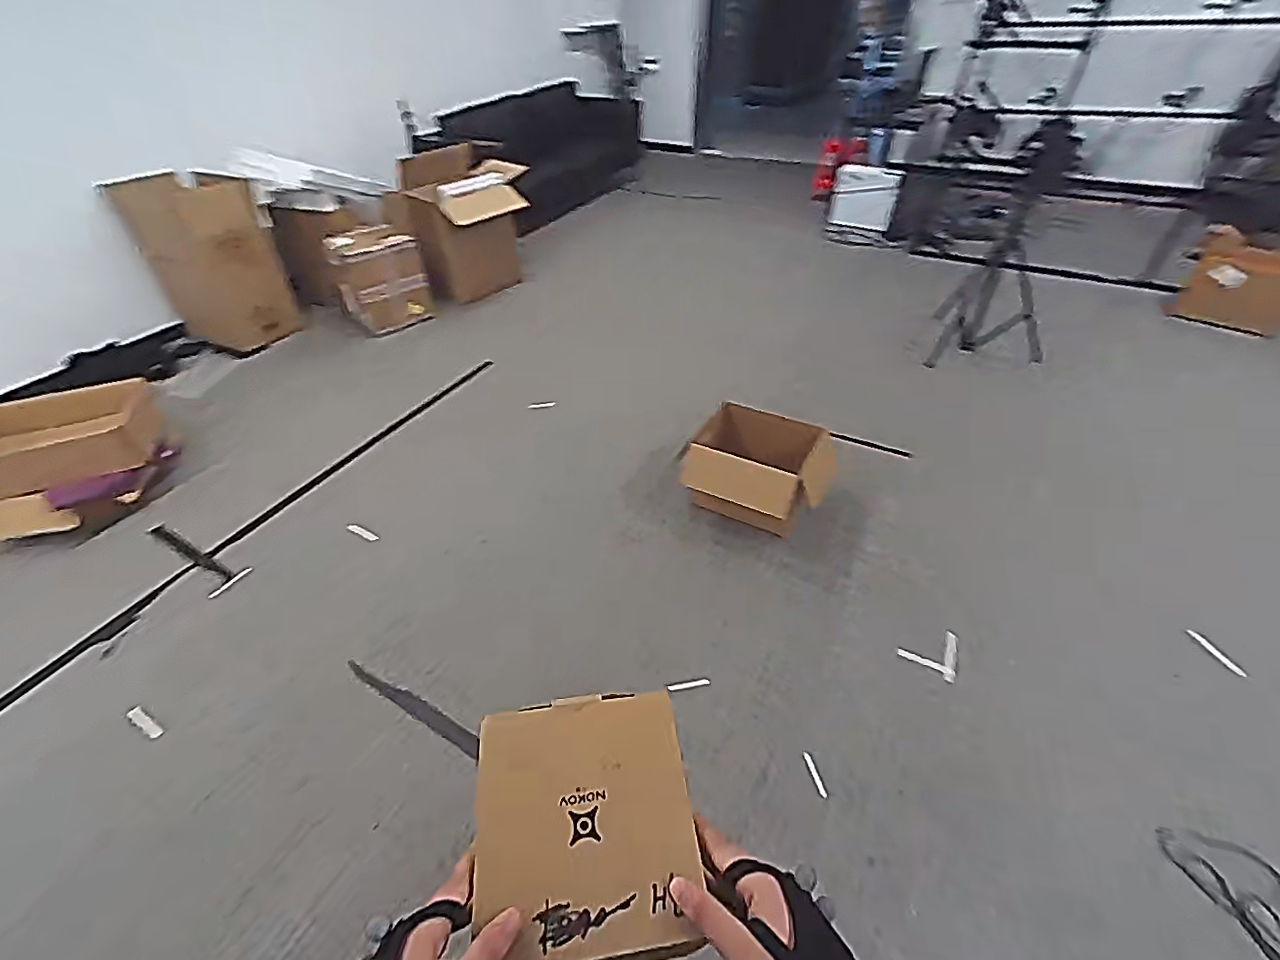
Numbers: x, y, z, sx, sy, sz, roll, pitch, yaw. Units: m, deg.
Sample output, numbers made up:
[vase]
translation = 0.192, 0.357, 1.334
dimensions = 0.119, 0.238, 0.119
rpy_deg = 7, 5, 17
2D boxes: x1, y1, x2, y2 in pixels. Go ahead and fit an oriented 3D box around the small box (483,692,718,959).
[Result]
[small box]
translation = -0.036, 0.317, 0.486
dimensions = 0.168, 0.176, 0.179
rpy_deg = -5, 47, -5
